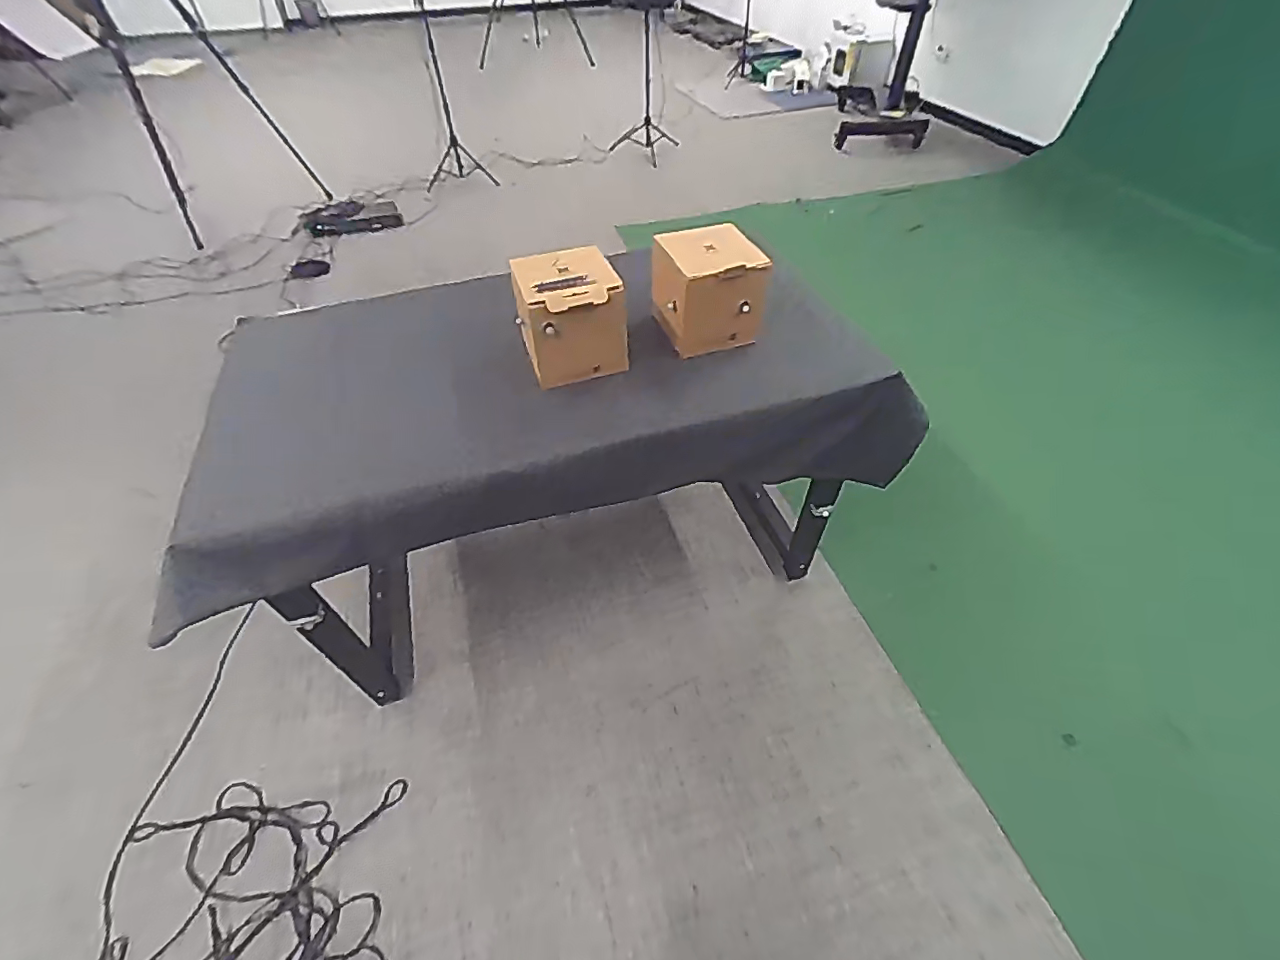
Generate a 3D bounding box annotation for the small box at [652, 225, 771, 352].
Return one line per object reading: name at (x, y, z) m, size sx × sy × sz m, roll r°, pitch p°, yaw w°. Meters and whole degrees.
small box at (0.129, -0.363, 1.042) m, size 0.168 × 0.176 × 0.179 m, roll -15°, pitch 49°, yaw -13°
